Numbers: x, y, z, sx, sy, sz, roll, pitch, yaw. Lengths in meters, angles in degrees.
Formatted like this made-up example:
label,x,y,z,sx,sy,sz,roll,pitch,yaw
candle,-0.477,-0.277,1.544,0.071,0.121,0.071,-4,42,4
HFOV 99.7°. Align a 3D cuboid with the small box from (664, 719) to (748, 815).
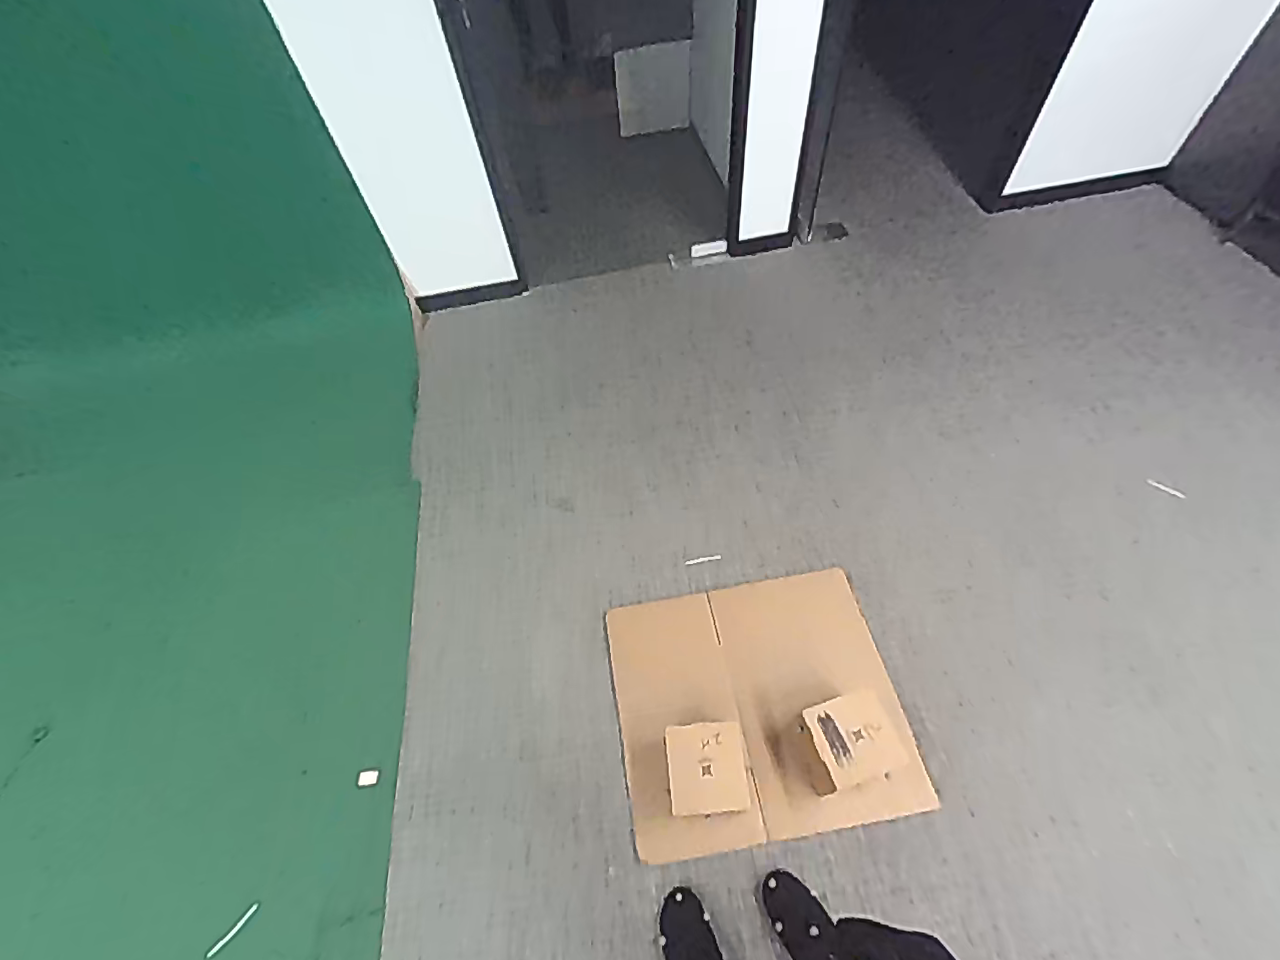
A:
label,x,y,z,sx,sy,sz,roll,pitch,yaw
small box,0.145,0.652,1.221,0.168,0.176,0.179,-5,56,1
